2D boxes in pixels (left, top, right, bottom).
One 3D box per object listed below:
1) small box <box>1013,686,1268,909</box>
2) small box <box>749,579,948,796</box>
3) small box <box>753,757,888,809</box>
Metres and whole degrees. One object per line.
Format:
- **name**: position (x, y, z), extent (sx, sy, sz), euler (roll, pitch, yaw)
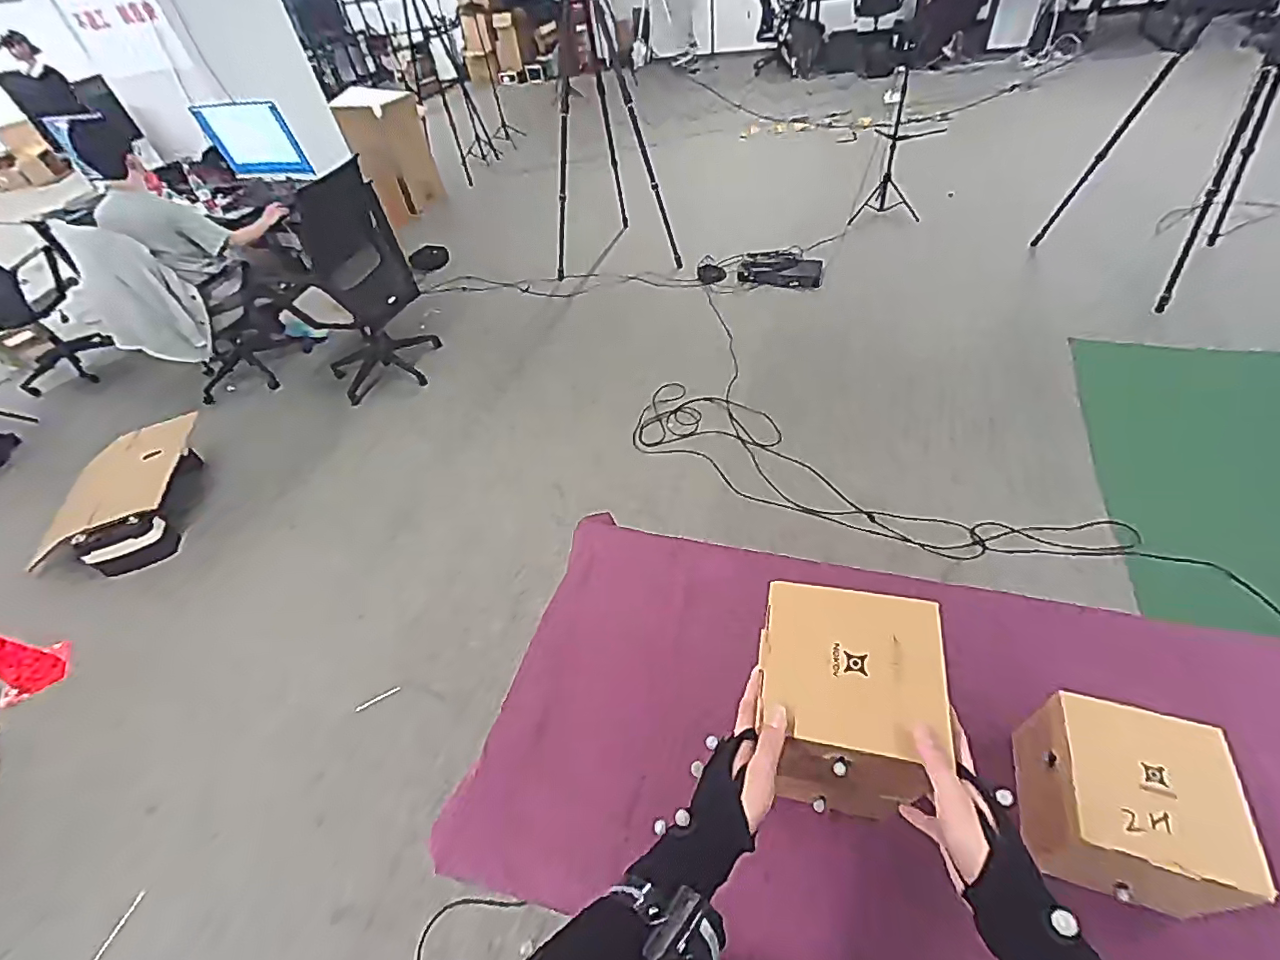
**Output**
- **small box**: position (0.589, 0.392, 0.672), extent (0.168, 0.176, 0.179), euler (10, 50, 20)
- **small box**: position (0.220, 0.232, 0.603), extent (0.179, 0.176, 0.168), euler (6, 52, 16)
- **small box**: position (0.260, 0.348, 0.772), extent (0.179, 0.176, 0.168), euler (6, 48, 15)
